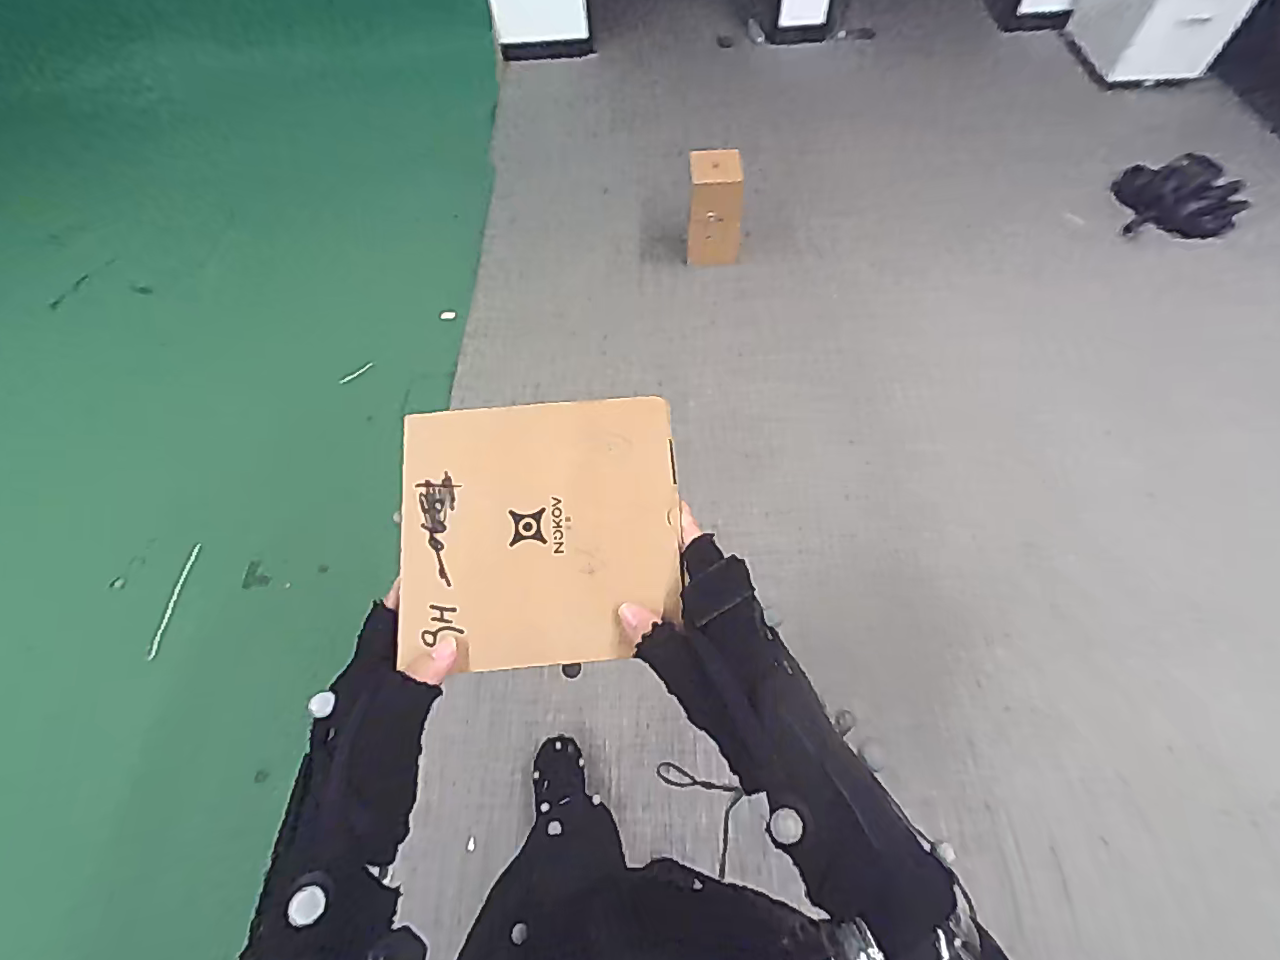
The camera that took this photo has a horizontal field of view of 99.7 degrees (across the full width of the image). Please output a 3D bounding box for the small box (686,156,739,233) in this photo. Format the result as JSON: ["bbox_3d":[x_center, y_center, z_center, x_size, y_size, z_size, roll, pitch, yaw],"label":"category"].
[{"bbox_3d":[0.244,-0.982,1.863,0.168,0.176,0.179,-3,62,3],"label":"small box"}]

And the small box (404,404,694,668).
[{"bbox_3d":[-0.061,0.050,0.421,0.179,0.176,0.168,-3,74,-2],"label":"small box"}]

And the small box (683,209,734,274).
[{"bbox_3d":[0.251,-0.888,2.015,0.179,0.176,0.168,-1,61,2],"label":"small box"}]
